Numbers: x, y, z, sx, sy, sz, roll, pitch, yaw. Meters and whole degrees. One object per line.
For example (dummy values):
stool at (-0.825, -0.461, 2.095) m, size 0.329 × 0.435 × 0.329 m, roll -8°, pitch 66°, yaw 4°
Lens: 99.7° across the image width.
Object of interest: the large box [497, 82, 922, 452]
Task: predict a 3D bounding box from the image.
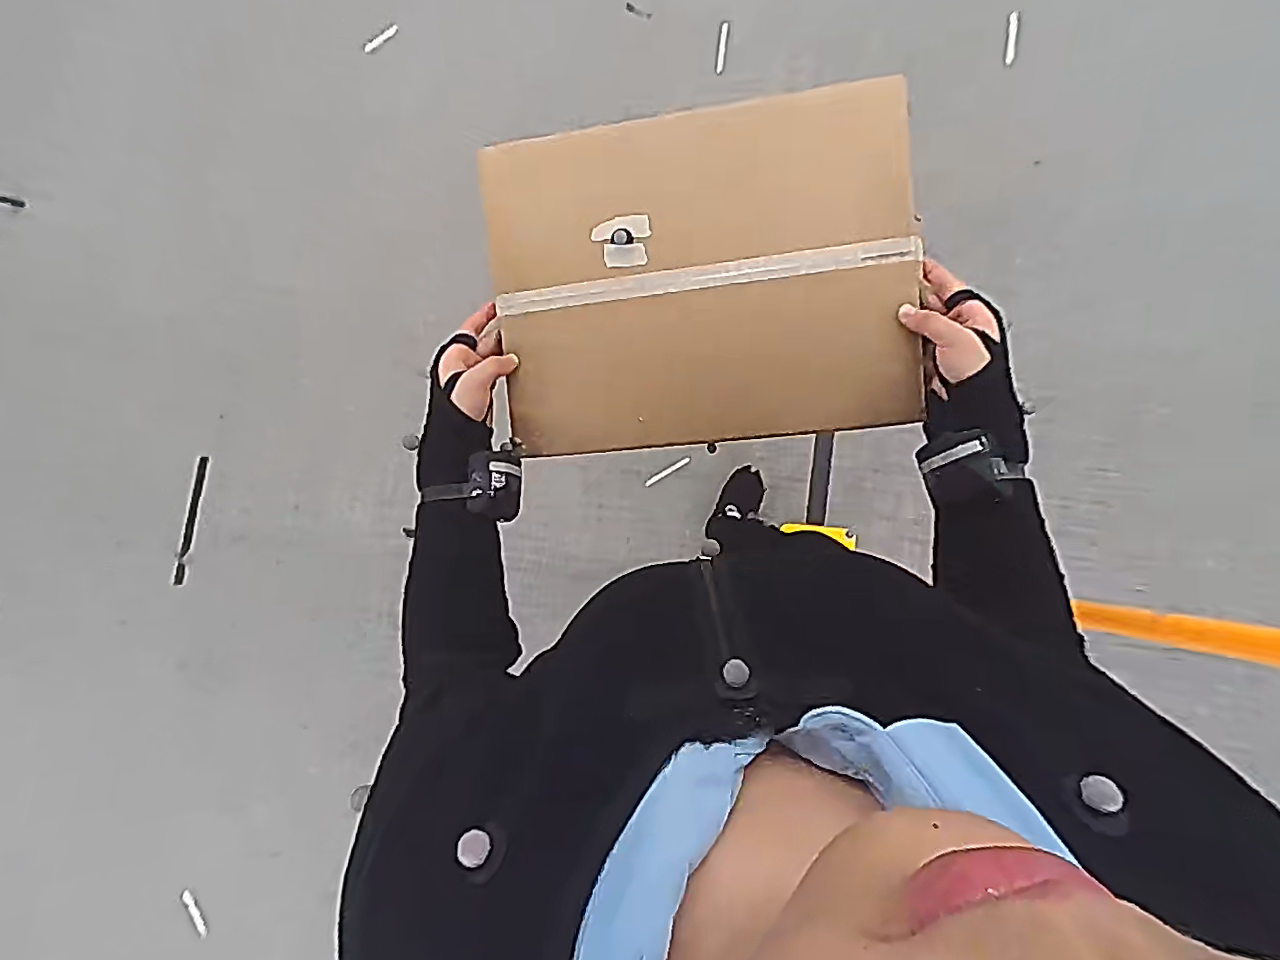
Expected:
large box at (0.084, -0.212, 0.685) m, size 0.408 × 0.320 × 0.320 m, roll -5°, pitch 93°, yaw 9°
